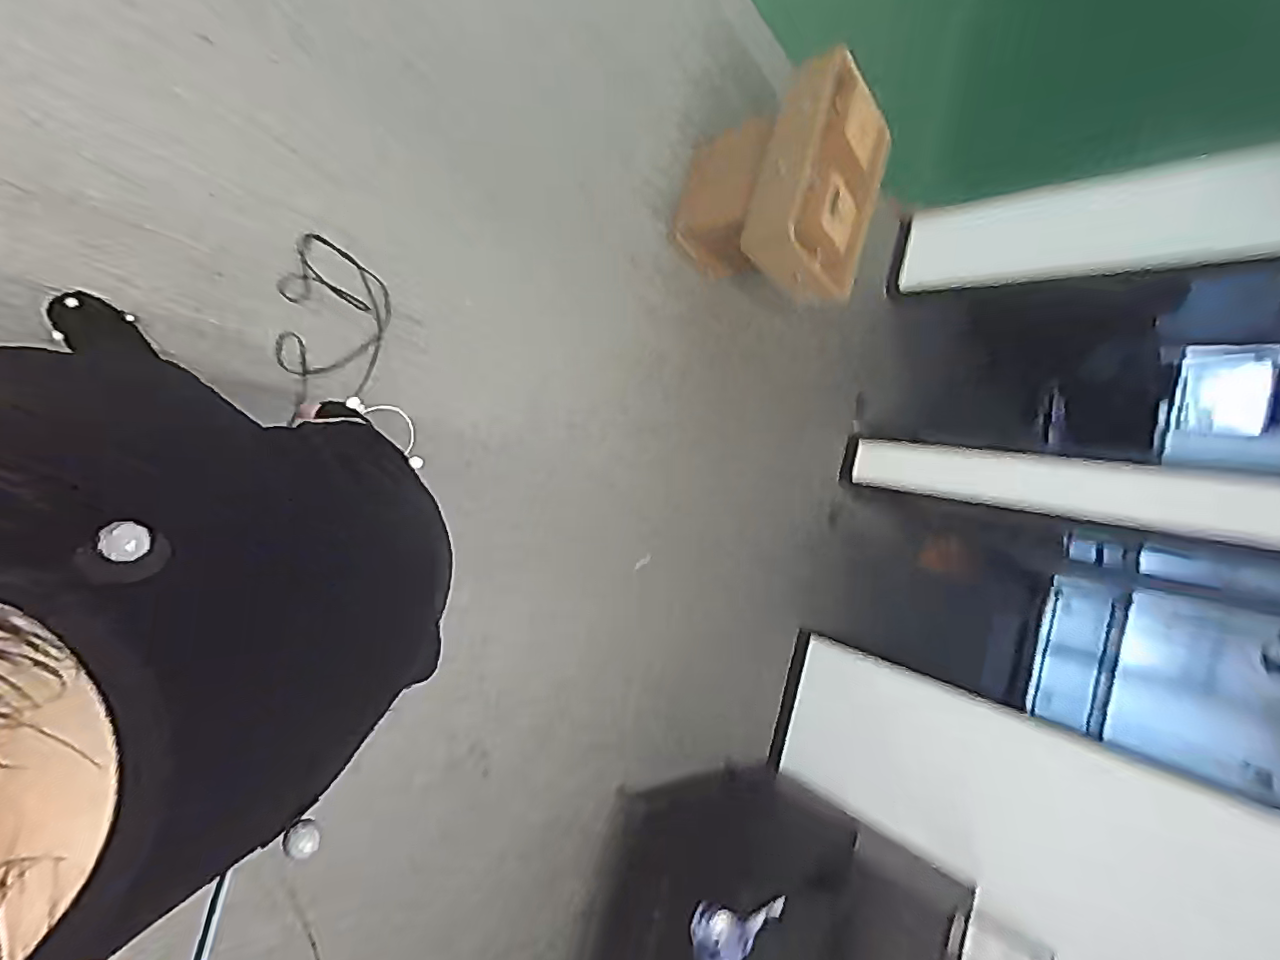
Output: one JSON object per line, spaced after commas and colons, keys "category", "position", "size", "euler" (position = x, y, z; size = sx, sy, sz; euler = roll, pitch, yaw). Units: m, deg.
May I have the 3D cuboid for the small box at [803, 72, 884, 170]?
{"category": "small box", "position": [0.640, -1.127, 1.713], "size": [0.168, 0.176, 0.179], "euler": [21, 85, -43]}
